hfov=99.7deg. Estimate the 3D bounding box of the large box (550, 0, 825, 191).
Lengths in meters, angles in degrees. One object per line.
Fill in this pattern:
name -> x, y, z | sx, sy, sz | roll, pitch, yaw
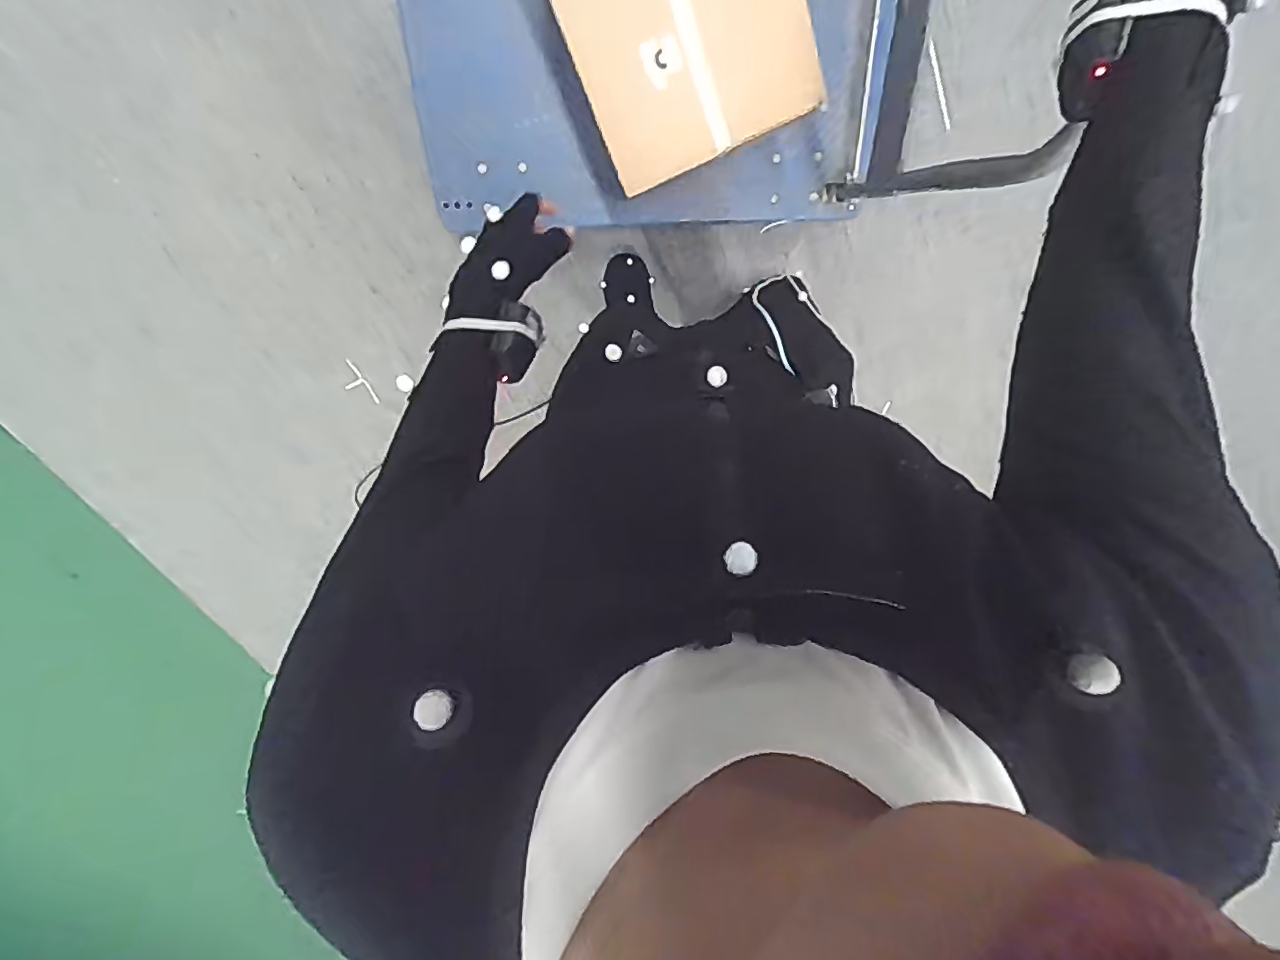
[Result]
large box -> 0.042, -0.728, 0.848 | 0.320, 0.320, 0.408 | -21, 115, 12
